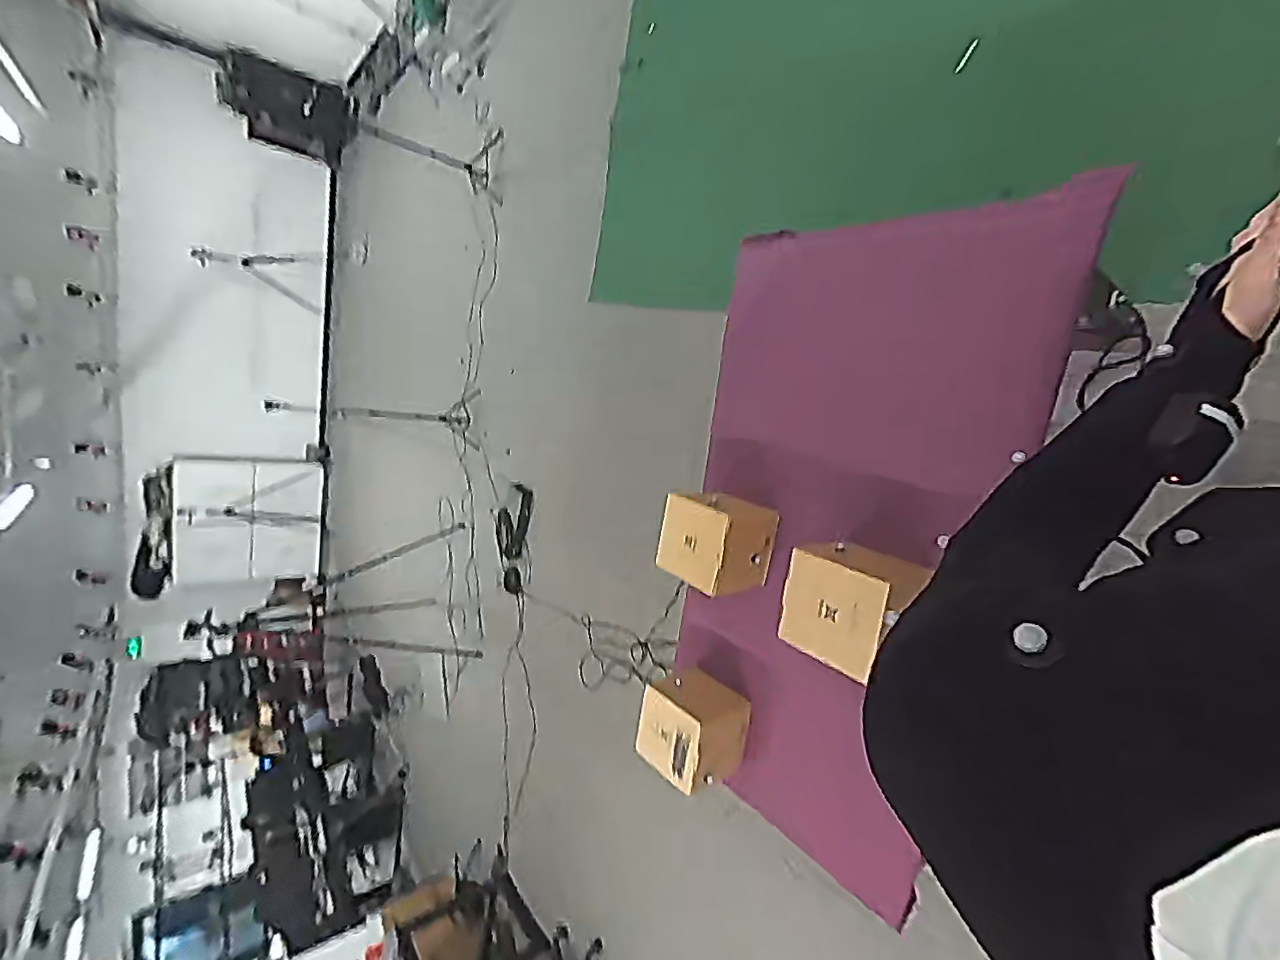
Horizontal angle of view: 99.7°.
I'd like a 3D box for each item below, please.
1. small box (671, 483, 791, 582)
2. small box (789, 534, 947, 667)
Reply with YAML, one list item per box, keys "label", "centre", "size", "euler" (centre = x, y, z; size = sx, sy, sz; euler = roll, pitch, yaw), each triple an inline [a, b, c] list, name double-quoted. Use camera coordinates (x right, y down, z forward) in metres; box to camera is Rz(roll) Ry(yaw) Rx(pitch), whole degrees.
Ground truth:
- label: "small box"
  centre: [0.198, 0.109, 1.187]
  size: [0.179, 0.176, 0.168]
  euler: [22, 107, 47]
- label: "small box"
  centre: [0.393, 0.196, 0.940]
  size: [0.179, 0.176, 0.168]
  euler: [21, 107, 51]
